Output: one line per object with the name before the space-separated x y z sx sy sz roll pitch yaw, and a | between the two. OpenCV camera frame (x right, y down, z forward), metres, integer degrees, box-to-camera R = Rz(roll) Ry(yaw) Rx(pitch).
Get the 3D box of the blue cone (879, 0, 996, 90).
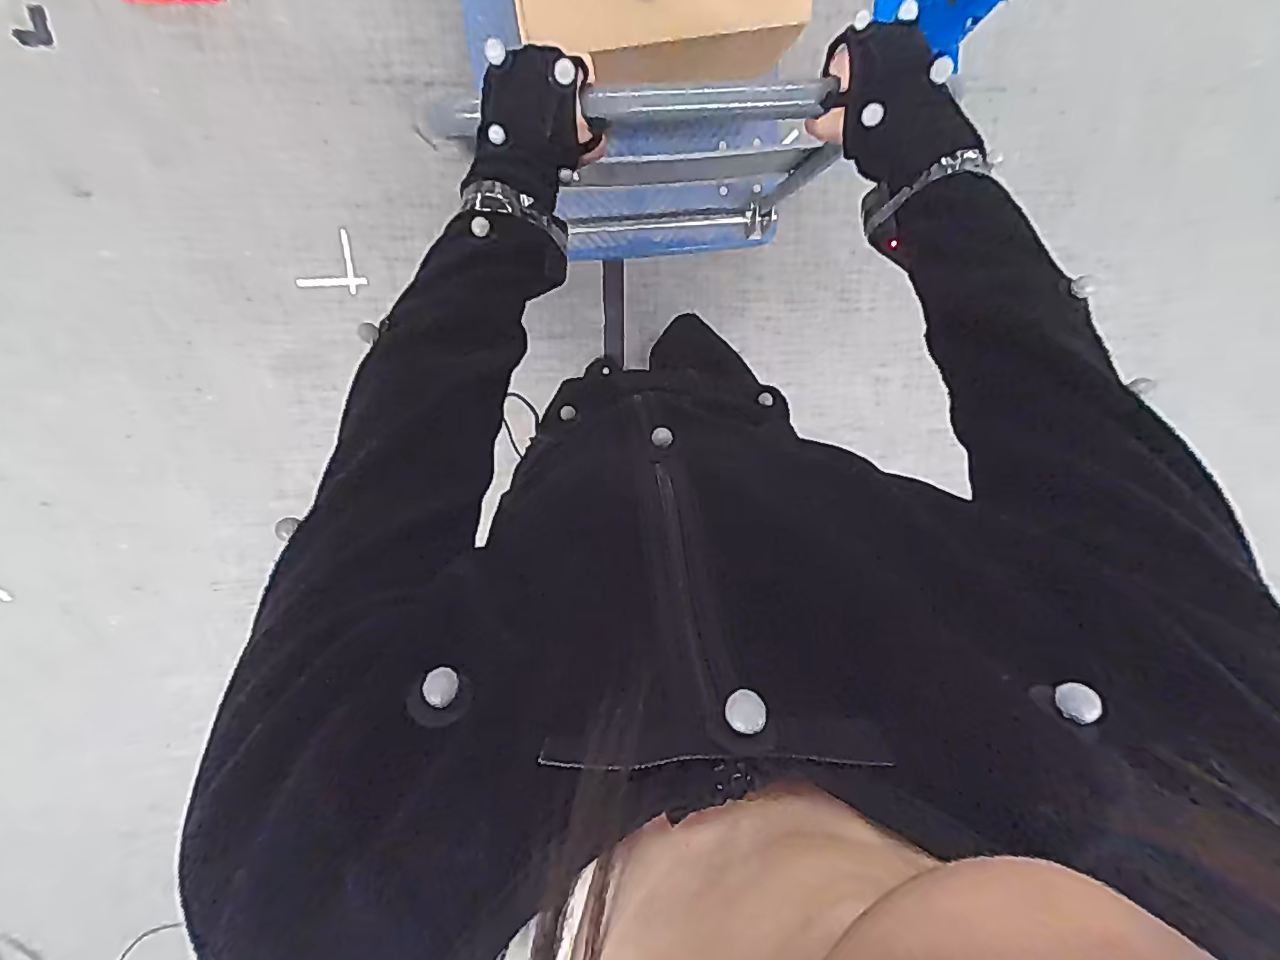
blue cone | 0.639 -0.932 1.044 0.193 0.380 0.192 -6 107 -5
